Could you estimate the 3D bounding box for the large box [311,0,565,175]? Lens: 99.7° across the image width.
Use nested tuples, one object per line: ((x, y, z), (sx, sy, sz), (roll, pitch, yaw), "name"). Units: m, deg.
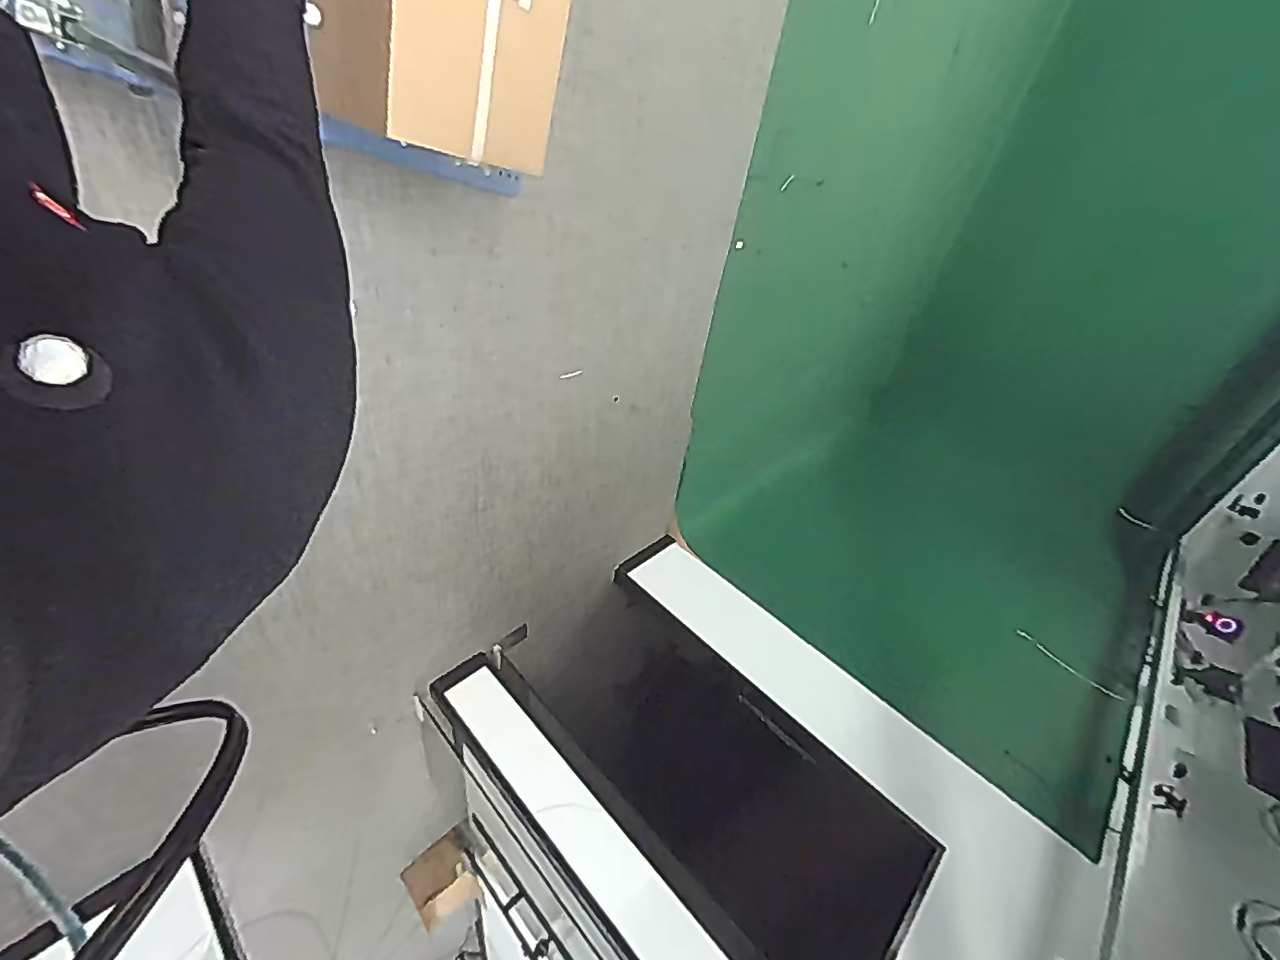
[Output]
((-0.357, -0.810, 0.948), (0.320, 0.320, 0.408), (-18, 133, -46), "large box")
